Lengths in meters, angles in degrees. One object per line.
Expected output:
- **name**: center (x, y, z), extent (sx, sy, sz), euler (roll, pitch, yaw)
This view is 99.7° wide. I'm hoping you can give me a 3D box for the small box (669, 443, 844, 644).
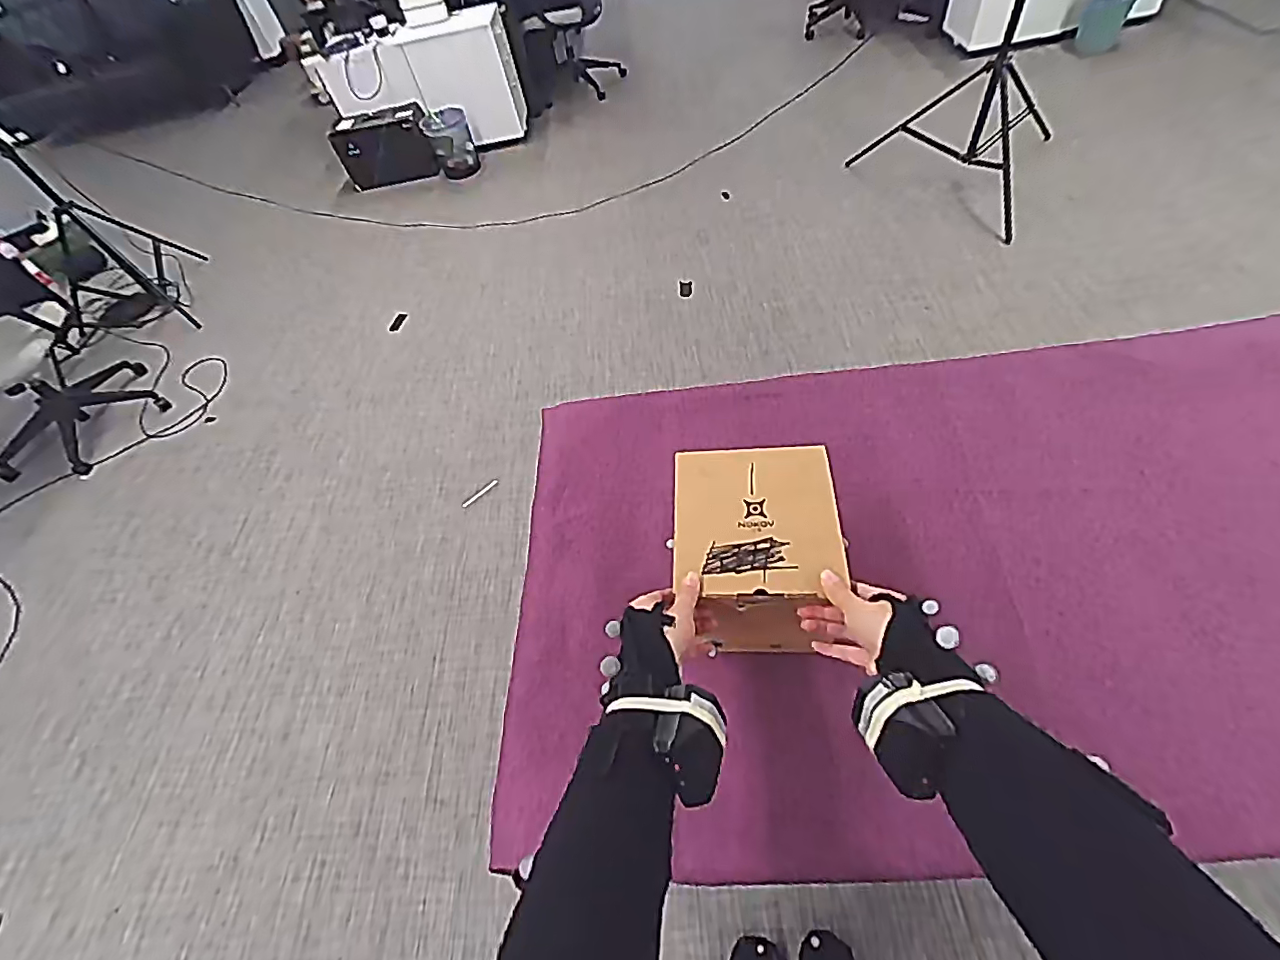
- **small box**: center (0.126, 0.080, 0.619), extent (0.168, 0.176, 0.179), euler (-2, 54, 8)
